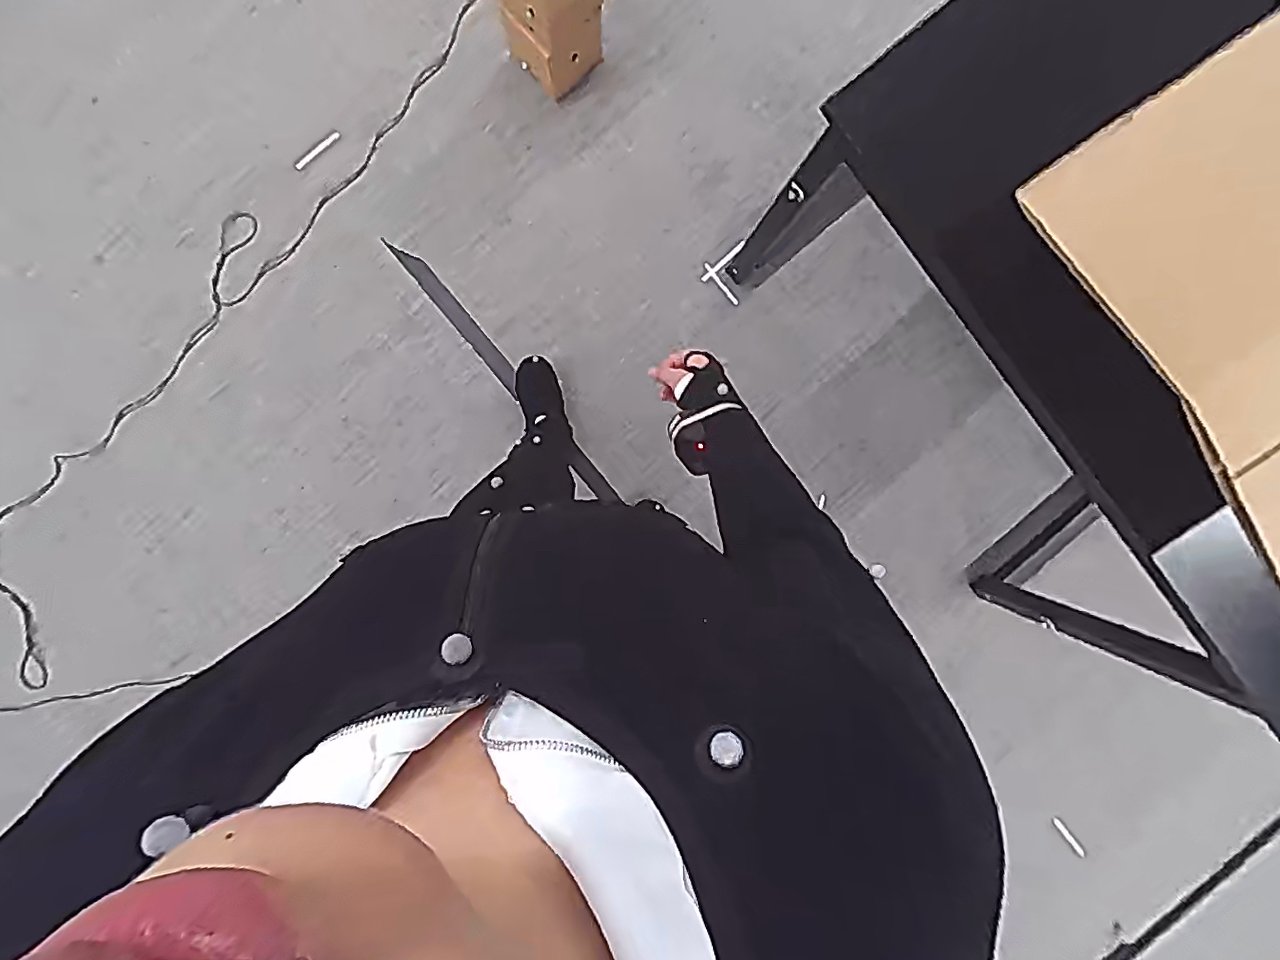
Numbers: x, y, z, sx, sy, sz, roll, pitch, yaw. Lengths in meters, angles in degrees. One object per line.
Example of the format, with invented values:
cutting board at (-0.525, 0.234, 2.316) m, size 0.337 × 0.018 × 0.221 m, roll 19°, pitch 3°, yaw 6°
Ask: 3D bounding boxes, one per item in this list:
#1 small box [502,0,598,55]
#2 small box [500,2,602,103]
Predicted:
small box at (-0.197, -1.074, 1.150) m, size 0.168 × 0.176 × 0.179 m, roll 42°, pitch 89°, yaw -7°
small box at (-0.210, -1.080, 1.312) m, size 0.179 × 0.176 × 0.168 m, roll -44°, pitch 95°, yaw 1°
